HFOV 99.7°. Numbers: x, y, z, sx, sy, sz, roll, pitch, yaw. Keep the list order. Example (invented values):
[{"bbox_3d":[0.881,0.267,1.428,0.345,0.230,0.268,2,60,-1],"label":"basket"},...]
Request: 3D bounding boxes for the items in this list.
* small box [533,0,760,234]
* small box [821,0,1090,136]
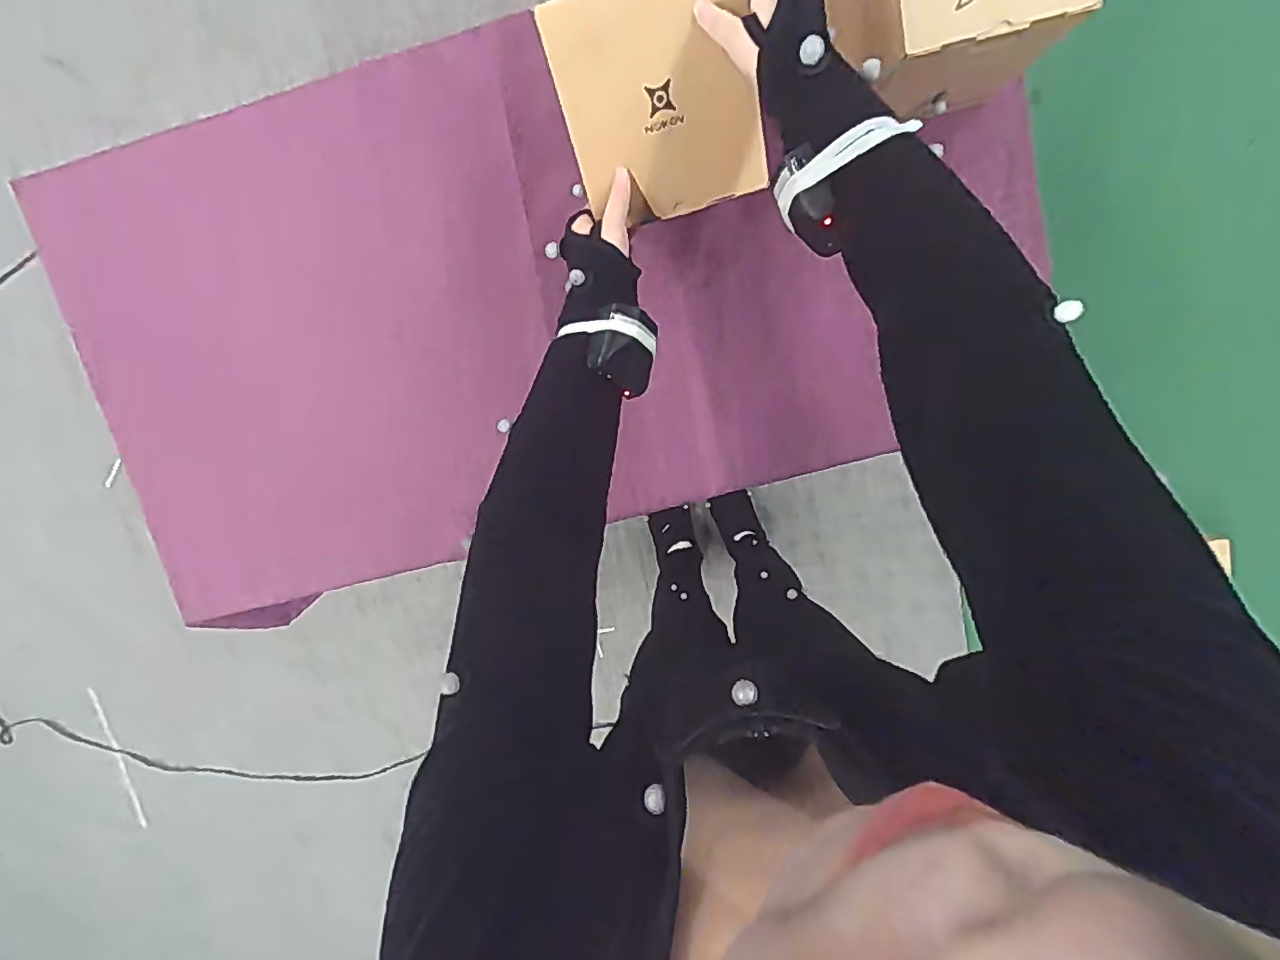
[{"bbox_3d":[0.008,-0.368,0.525,0.168,0.176,0.179,-13,128,7],"label":"small box"},{"bbox_3d":[0.285,-0.478,0.525,0.168,0.176,0.179,-11,101,6],"label":"small box"}]
